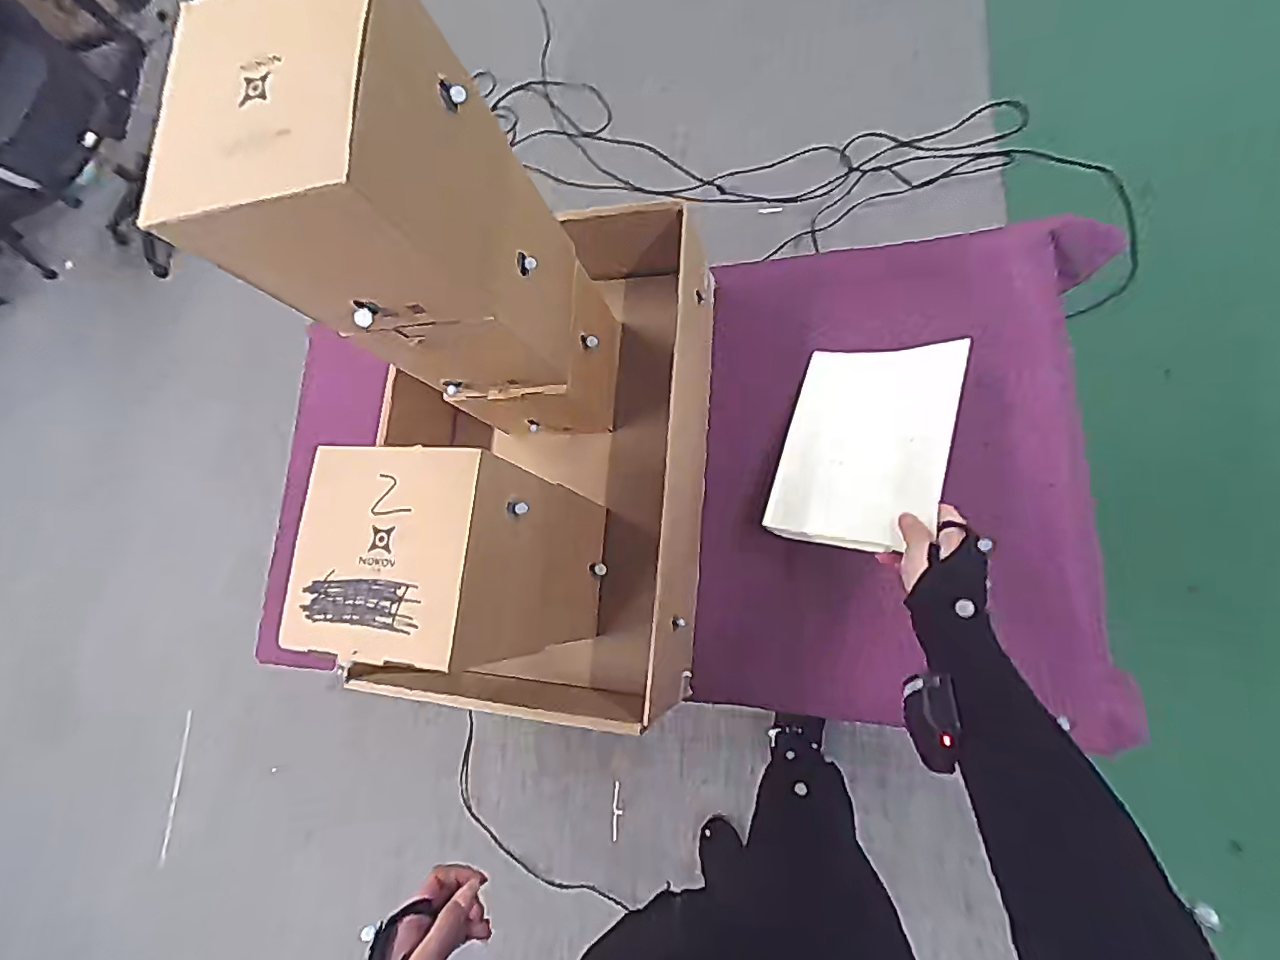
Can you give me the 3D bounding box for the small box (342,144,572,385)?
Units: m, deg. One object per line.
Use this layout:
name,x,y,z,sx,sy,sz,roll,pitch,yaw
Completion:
small box,-0.180,-0.208,0.579,0.168,0.176,0.179,-2,78,15

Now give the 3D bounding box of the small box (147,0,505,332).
small box,-0.221,-0.238,0.424,0.168,0.176,0.179,-2,80,15

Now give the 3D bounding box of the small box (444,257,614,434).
small box,-0.138,-0.170,0.733,0.168,0.176,0.179,-1,80,15
